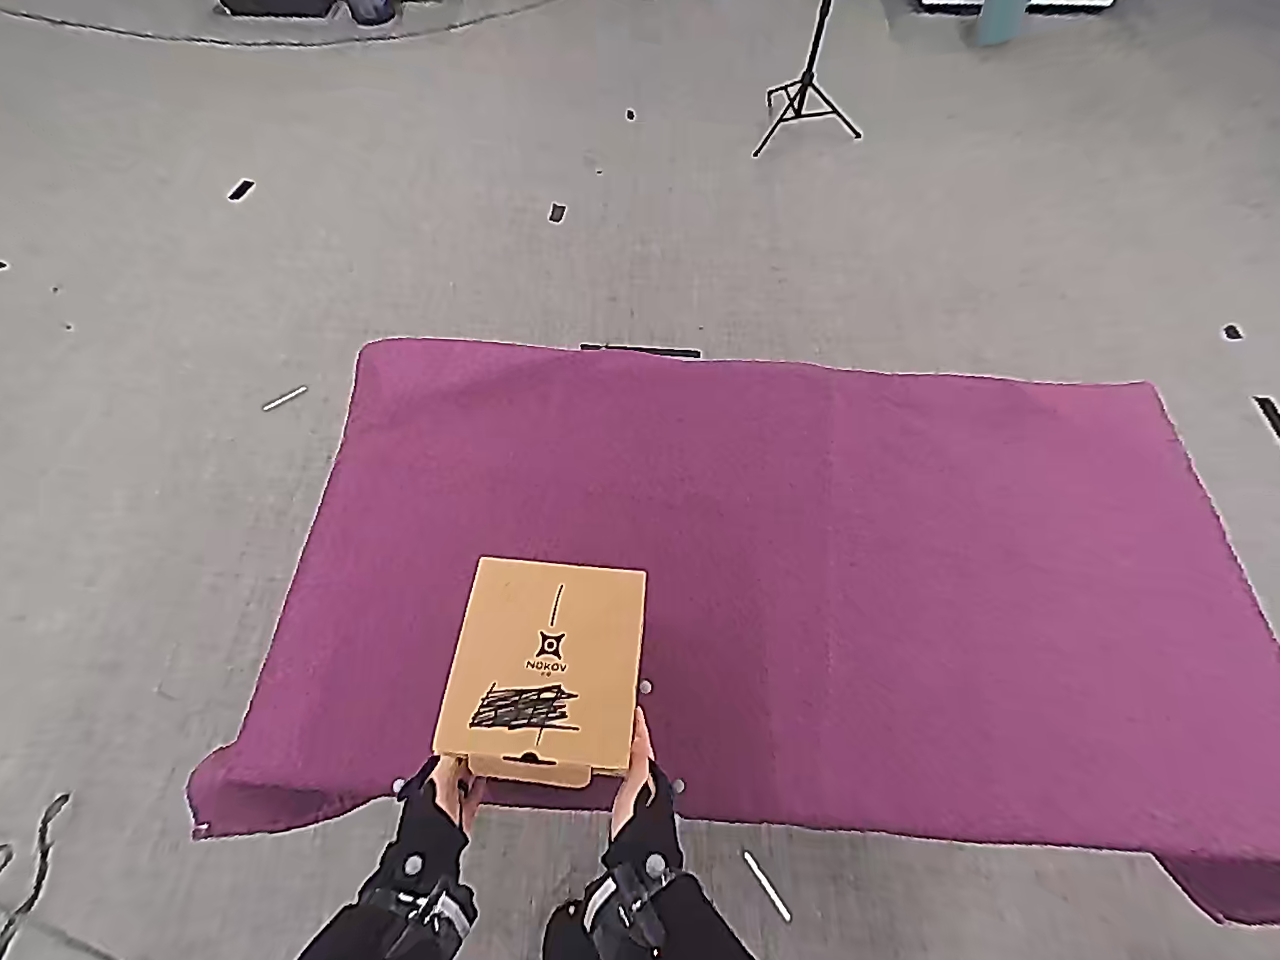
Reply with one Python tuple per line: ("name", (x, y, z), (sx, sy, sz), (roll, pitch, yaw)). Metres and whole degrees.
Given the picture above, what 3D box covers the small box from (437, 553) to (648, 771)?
("small box", (-0.082, 0.194, 0.556), (0.168, 0.176, 0.179), (5, 60, 2))
